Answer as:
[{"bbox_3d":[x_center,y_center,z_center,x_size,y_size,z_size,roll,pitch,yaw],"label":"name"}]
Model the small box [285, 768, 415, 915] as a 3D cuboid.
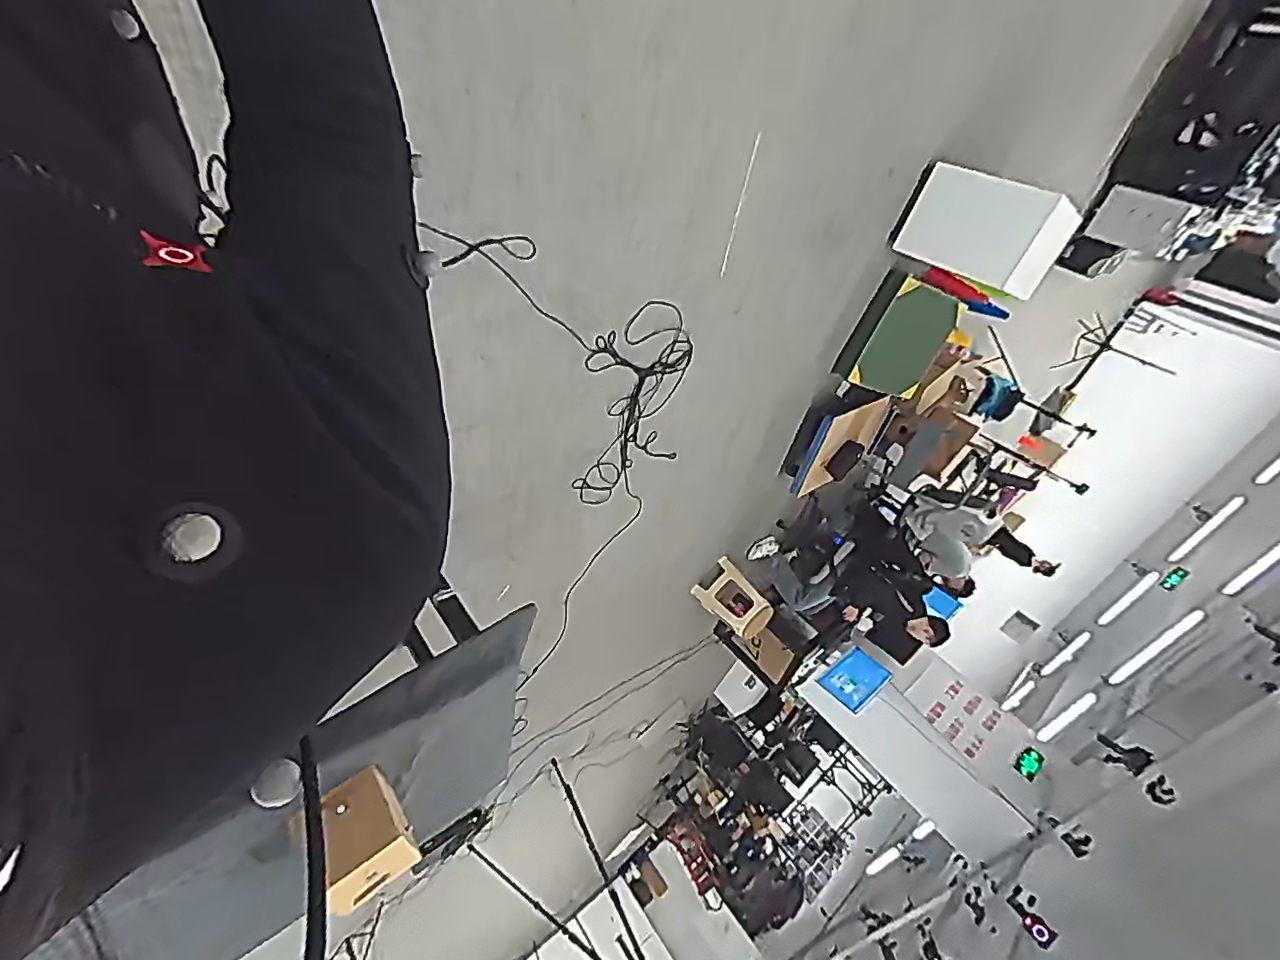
[{"bbox_3d":[-0.585,0.727,1.099,0.168,0.176,0.179,-28,142,-30],"label":"small box"}]
